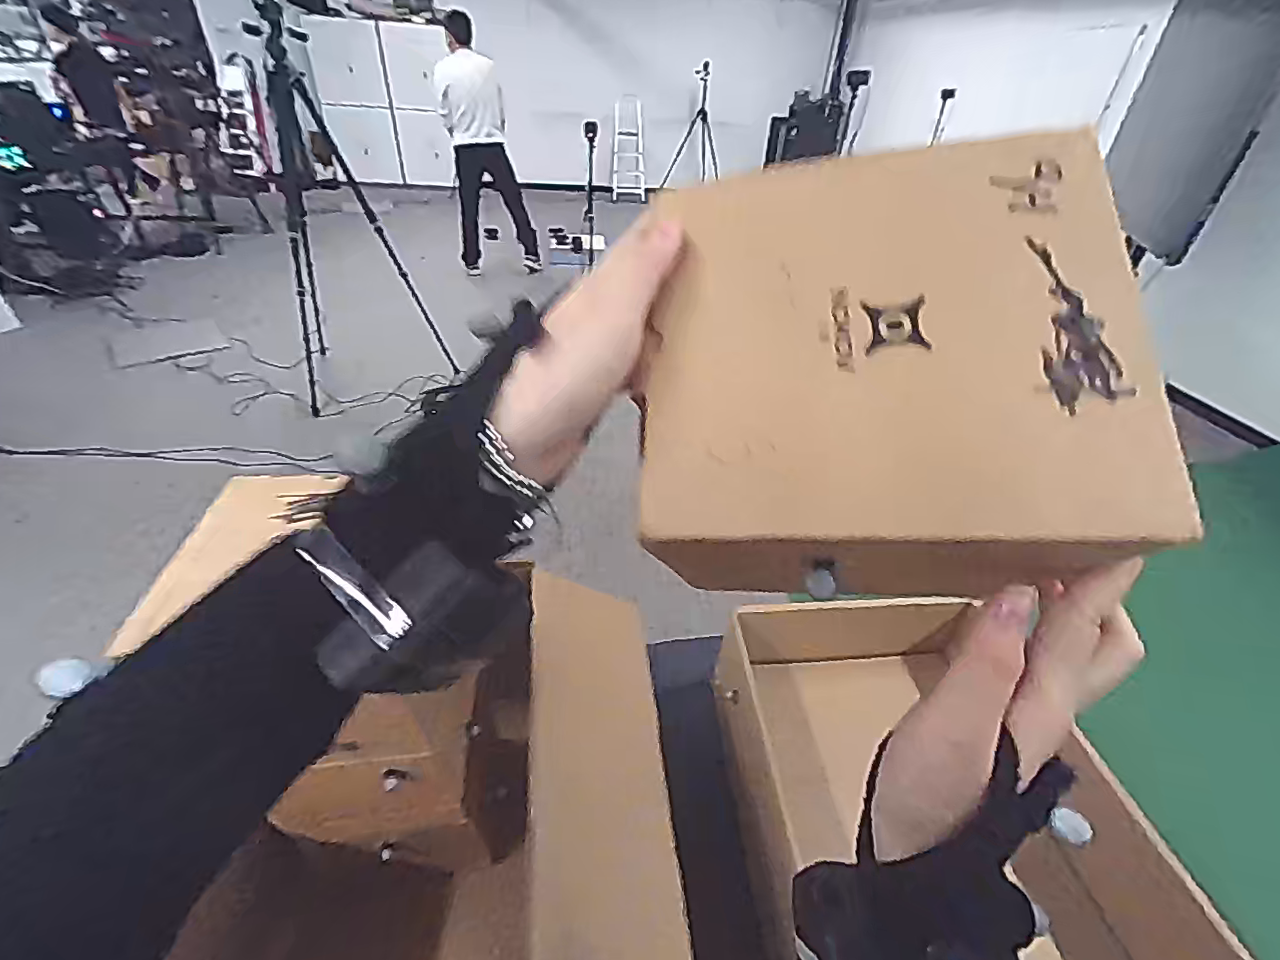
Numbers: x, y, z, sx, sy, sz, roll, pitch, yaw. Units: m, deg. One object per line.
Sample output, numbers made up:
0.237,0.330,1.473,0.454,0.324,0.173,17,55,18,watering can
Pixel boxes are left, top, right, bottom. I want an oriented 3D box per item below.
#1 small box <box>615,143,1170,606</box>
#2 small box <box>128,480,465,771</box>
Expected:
0.098,-0.027,0.279,0.179,0.176,0.168,-1,72,13,small box
-0.255,0.119,0.463,0.168,0.176,0.179,-2,40,-5,small box
